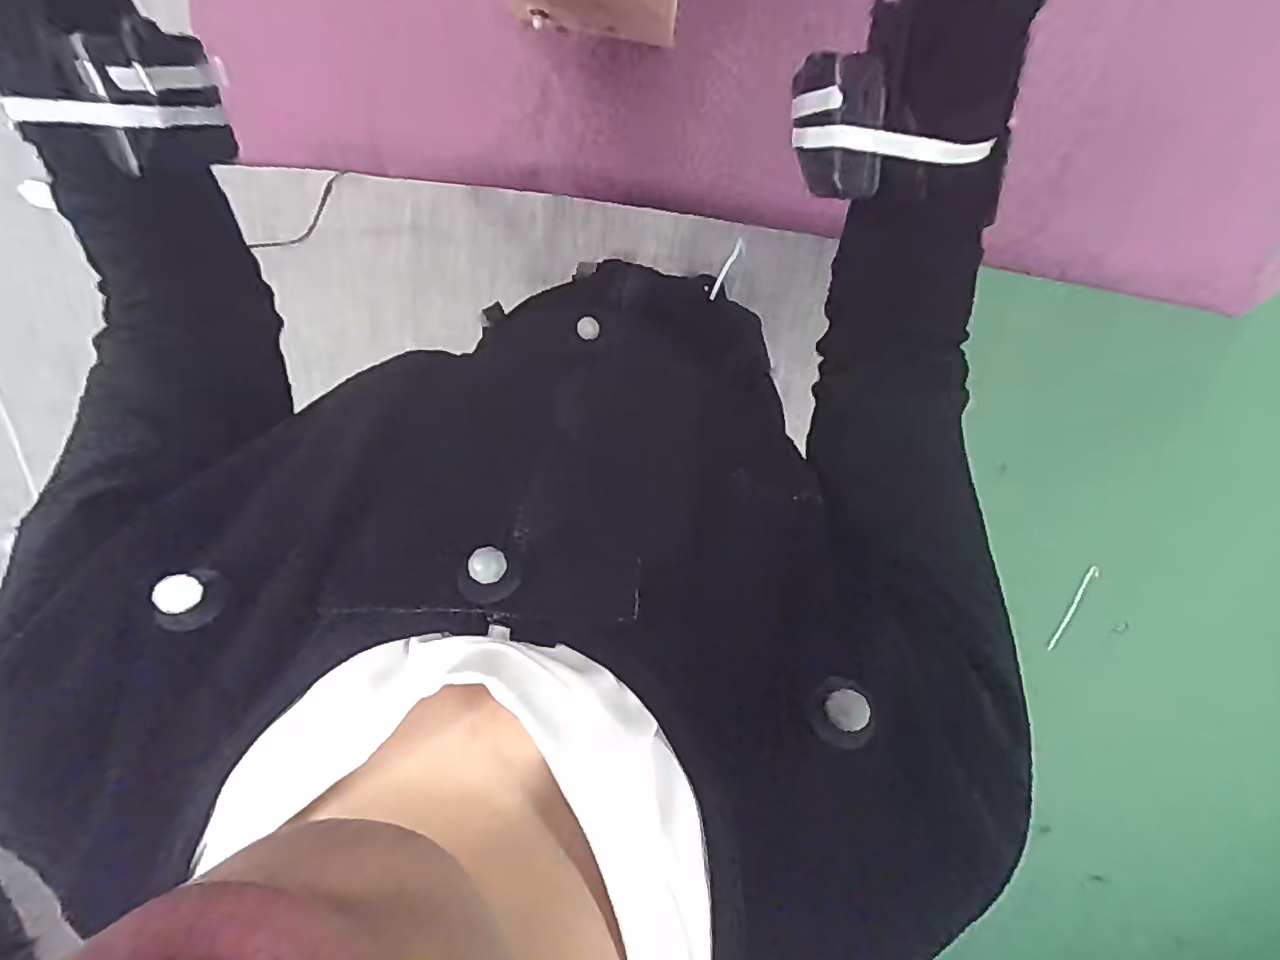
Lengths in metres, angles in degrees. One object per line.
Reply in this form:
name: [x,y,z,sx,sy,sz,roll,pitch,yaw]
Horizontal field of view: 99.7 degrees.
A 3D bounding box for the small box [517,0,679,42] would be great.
small box: [-0.036,-0.511,0.455,0.168,0.176,0.179,10,112,-2]
